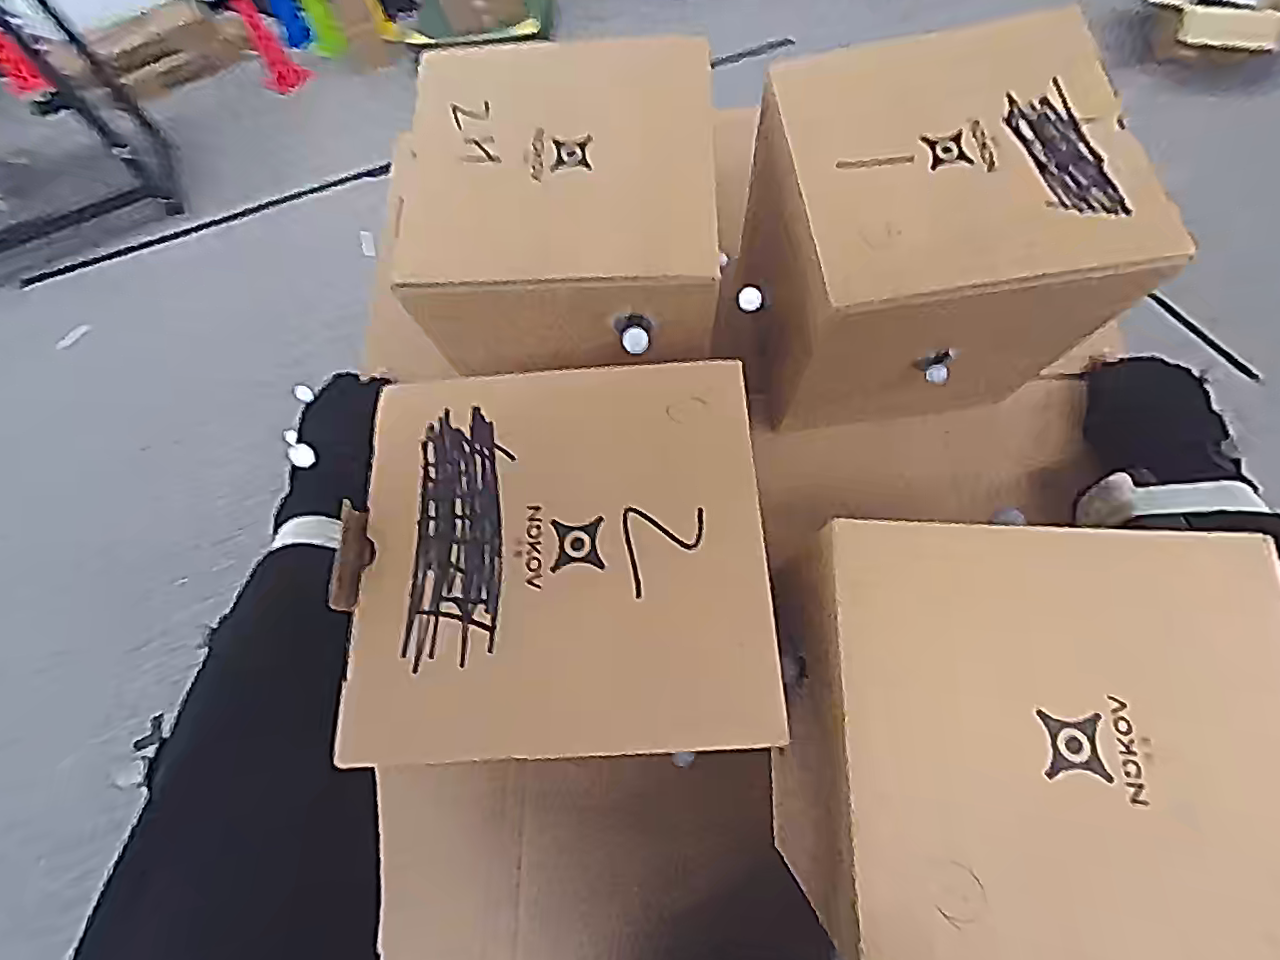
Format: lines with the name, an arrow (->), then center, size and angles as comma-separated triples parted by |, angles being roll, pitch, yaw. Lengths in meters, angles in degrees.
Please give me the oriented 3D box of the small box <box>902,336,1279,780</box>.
small box -> 0.269, 0.048, 0.280 | 0.179, 0.176, 0.168 | 14, 79, 7
